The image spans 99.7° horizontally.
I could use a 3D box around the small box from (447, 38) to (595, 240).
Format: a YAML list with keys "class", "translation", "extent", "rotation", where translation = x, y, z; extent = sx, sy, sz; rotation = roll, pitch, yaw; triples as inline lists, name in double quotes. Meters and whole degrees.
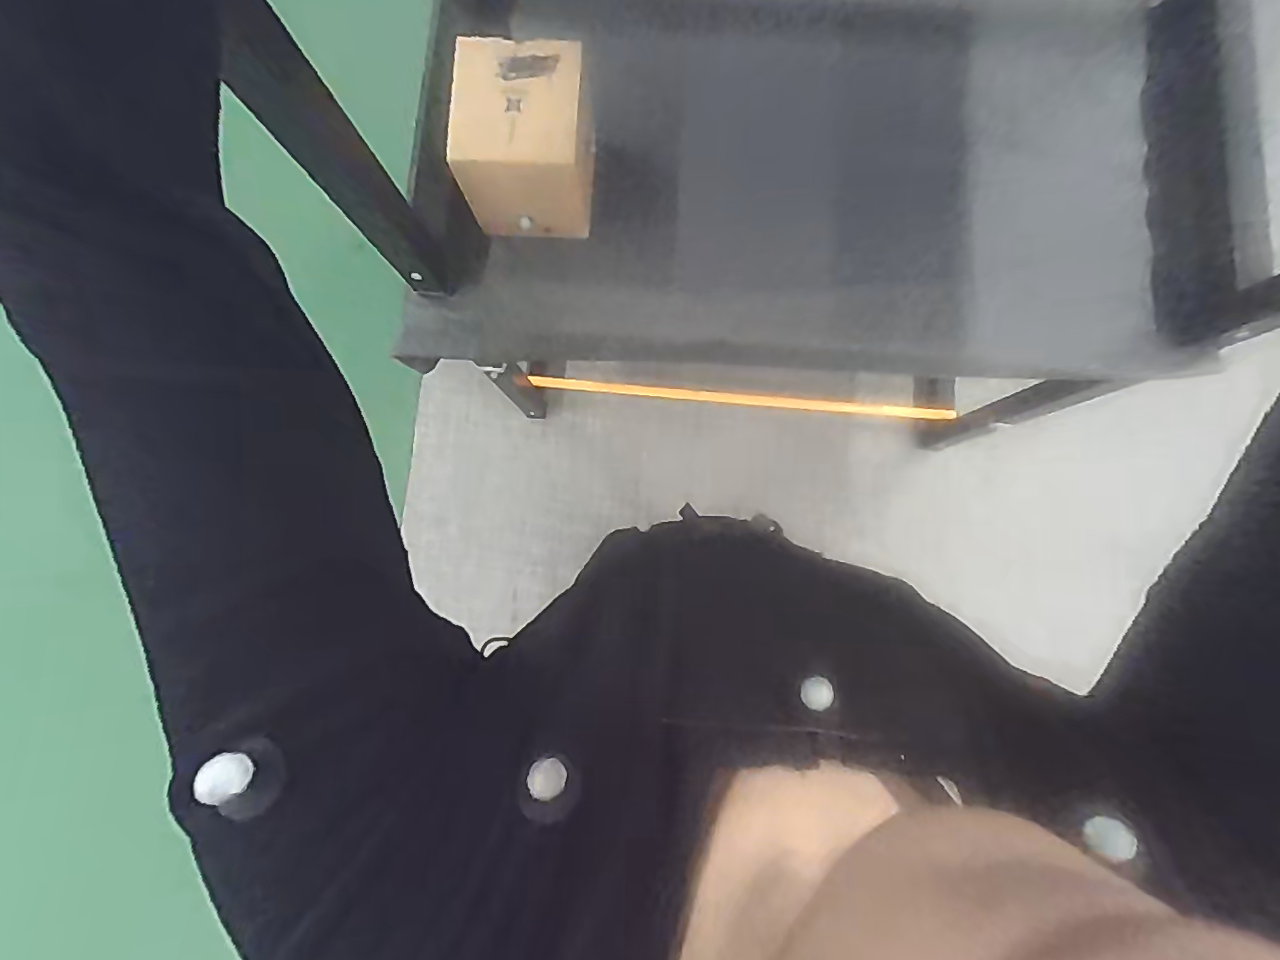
- class: "small box"
  translation: [-0.156, -0.470, 0.765]
  extent: [0.168, 0.176, 0.179]
  rotation: [2, 83, 1]
